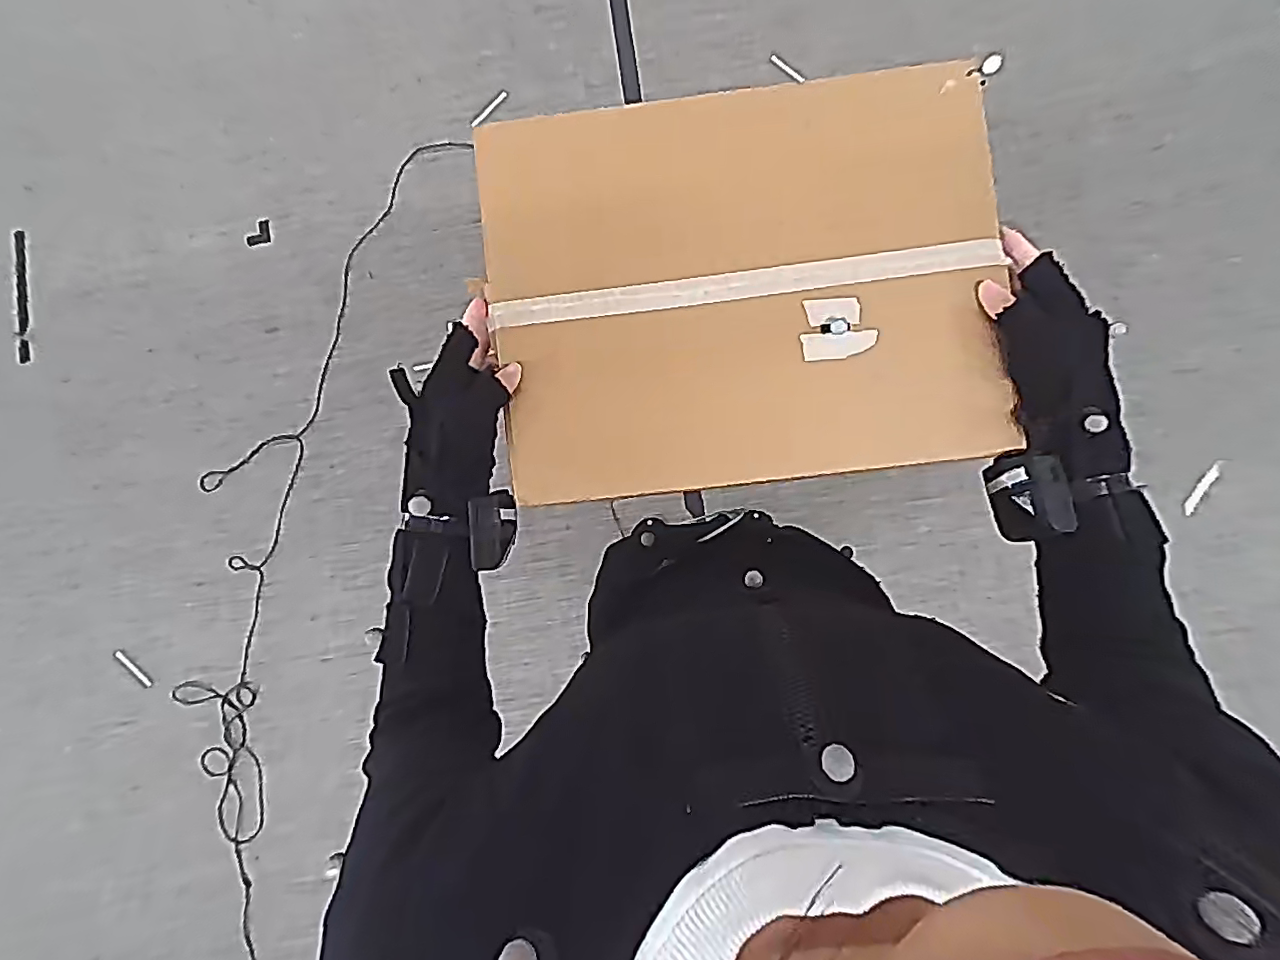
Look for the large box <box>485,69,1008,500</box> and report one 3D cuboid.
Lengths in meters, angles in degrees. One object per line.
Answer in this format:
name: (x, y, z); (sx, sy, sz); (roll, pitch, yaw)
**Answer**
large box: (0.086, -0.158, 0.592); (0.408, 0.320, 0.320); (-7, 90, 1)
